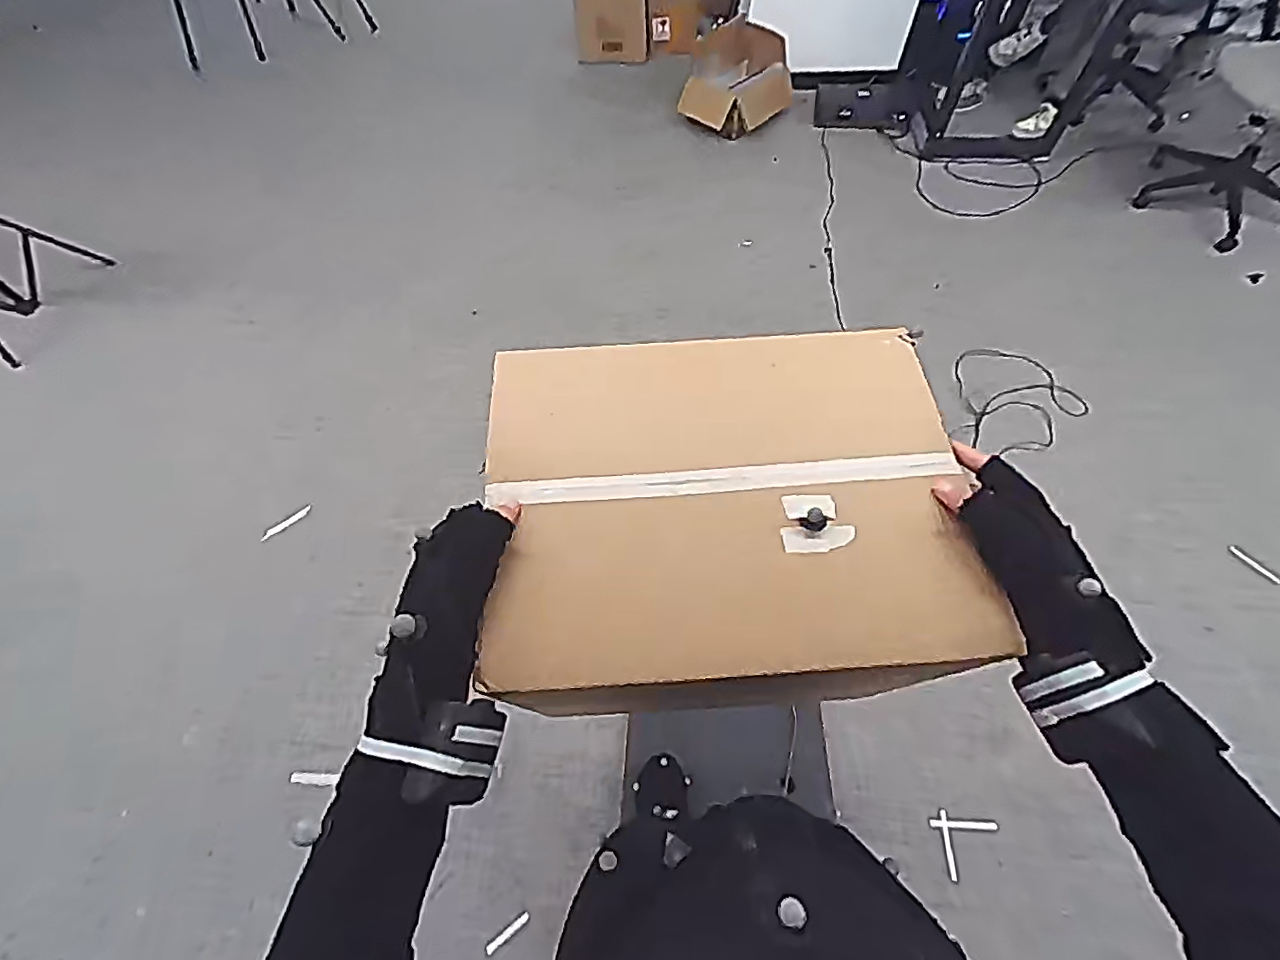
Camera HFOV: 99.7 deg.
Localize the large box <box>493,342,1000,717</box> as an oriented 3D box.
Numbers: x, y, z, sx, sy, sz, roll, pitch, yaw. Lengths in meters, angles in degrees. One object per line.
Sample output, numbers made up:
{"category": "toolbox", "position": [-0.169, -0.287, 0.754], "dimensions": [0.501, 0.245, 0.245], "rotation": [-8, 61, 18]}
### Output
{"category": "large box", "position": [0.073, 0.075, 0.613], "dimensions": [0.408, 0.320, 0.320], "rotation": [-3, 63, -1]}
